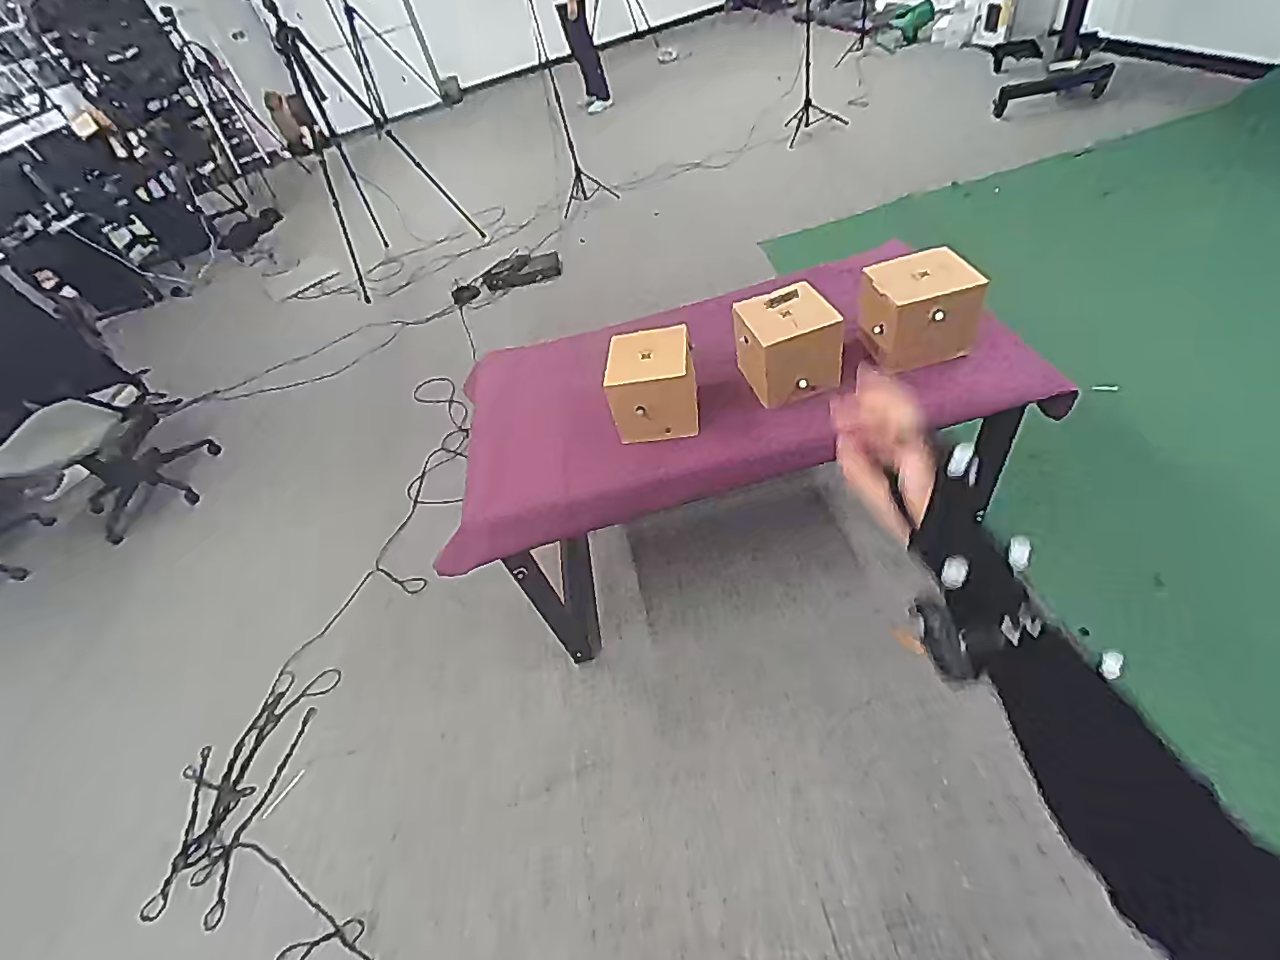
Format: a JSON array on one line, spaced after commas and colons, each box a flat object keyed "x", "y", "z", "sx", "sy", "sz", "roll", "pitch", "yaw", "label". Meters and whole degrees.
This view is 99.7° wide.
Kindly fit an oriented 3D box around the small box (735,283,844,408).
[{"x": 0.310, "y": -0.283, "z": 1.143, "sx": 0.168, "sy": 0.176, "sz": 0.179, "roll": -18, "pitch": 47, "yaw": 0, "label": "small box"}]

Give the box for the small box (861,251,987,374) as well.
[{"x": 0.573, "y": -0.343, "z": 1.121, "sx": 0.179, "sy": 0.176, "sz": 0.168, "roll": -13, "pitch": 46, "yaw": 5, "label": "small box"}]

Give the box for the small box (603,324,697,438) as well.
[{"x": 0.030, "y": -0.202, "z": 1.152, "sx": 0.168, "sy": 0.176, "sz": 0.179, "roll": -5, "pitch": 47, "yaw": 12, "label": "small box"}]
